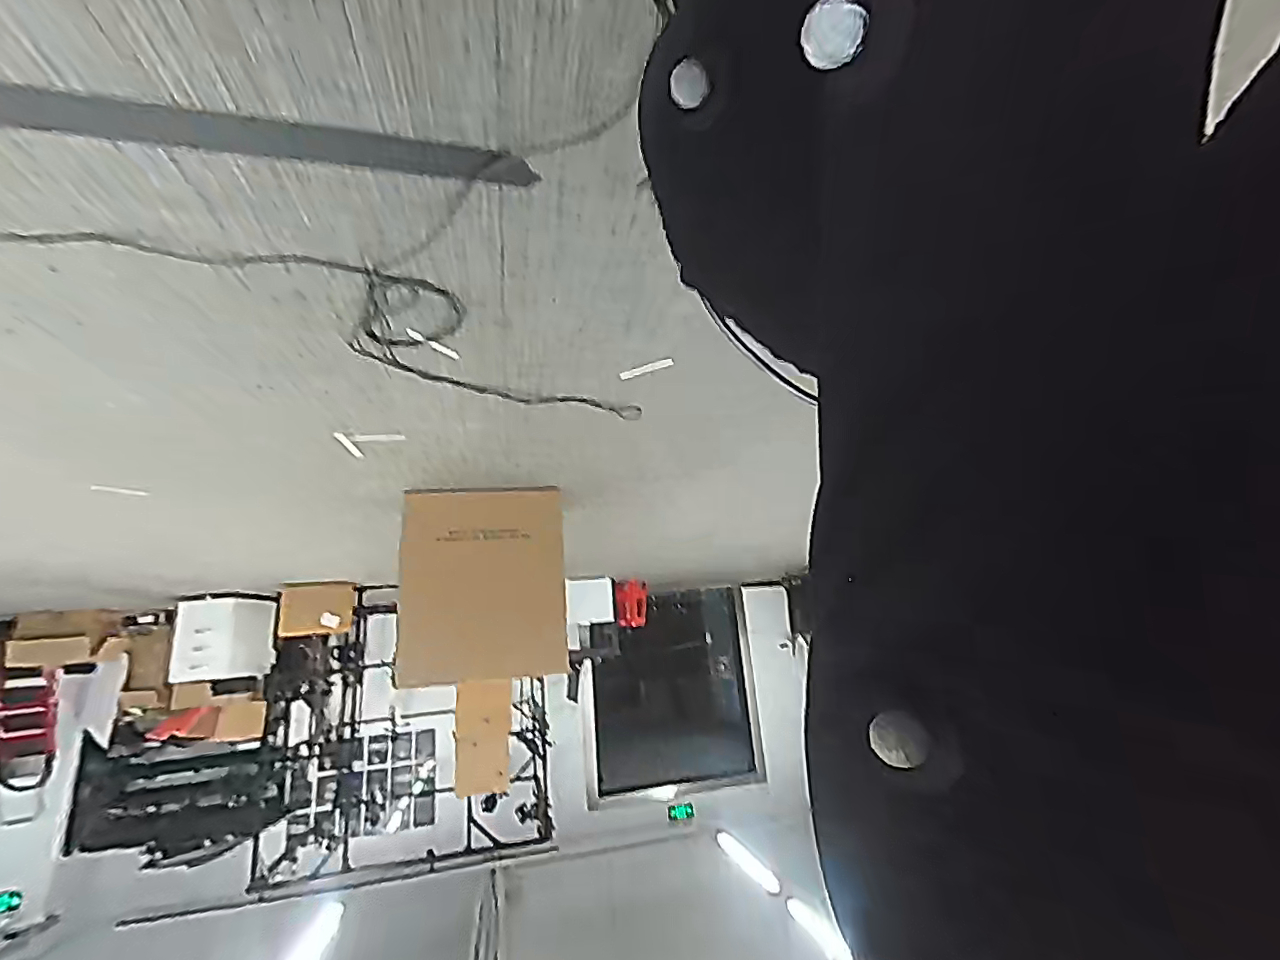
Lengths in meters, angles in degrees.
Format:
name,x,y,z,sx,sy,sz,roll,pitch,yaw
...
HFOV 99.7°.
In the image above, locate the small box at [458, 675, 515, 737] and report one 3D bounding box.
name,x,y,z,sx,sy,sz,roll,pitch,yaw
small box,-0.512,0.752,1.814,0.179,0.176,0.168,-2,164,-12
